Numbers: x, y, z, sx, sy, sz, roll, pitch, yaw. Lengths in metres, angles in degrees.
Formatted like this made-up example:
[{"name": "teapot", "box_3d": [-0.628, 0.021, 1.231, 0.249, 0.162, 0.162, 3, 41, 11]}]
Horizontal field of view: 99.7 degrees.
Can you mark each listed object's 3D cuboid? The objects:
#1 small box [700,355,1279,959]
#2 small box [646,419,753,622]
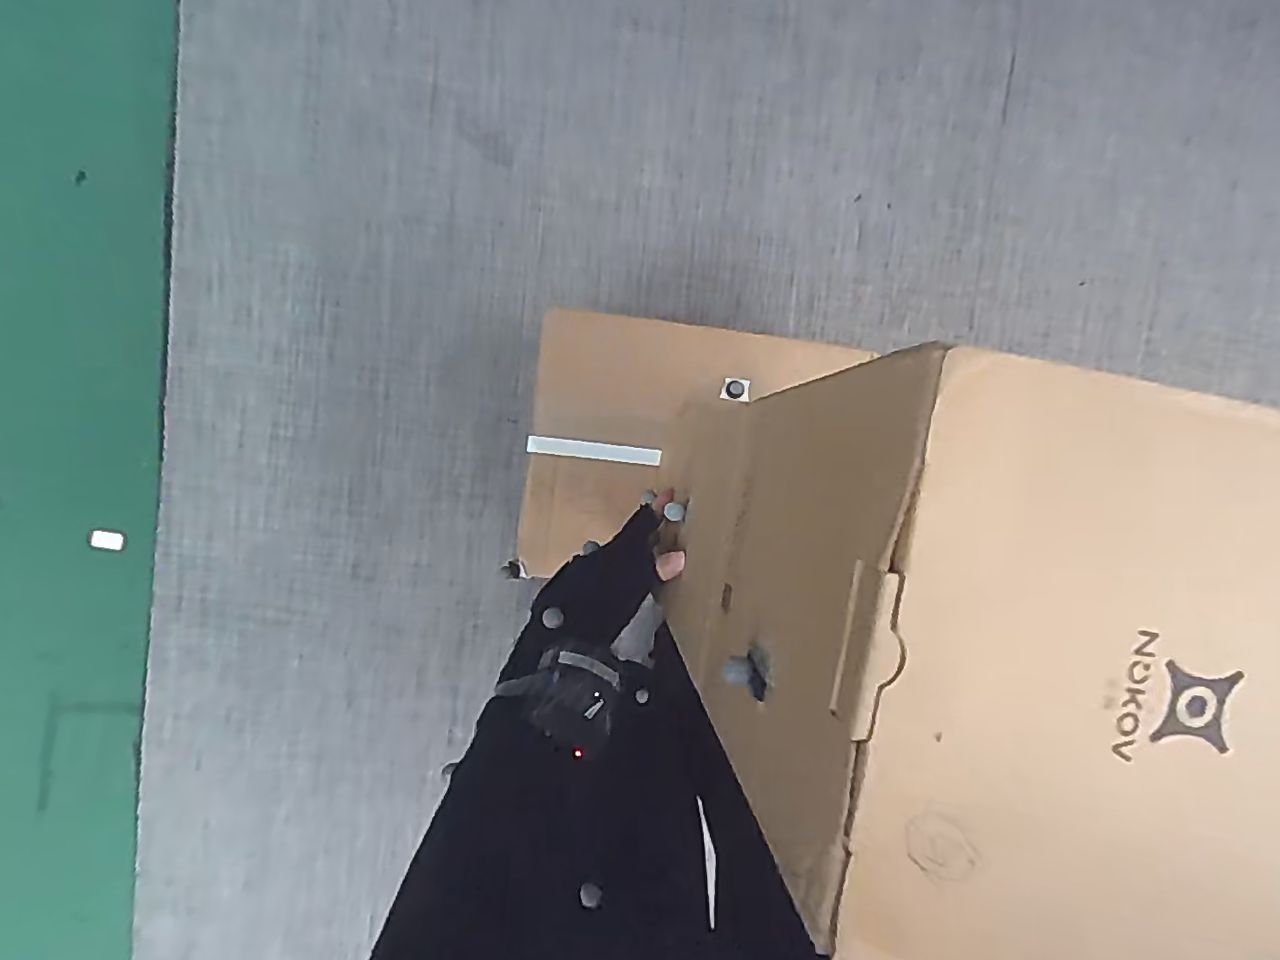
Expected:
[{"name": "small box", "box_3d": [0.132, 0.056, 0.228, 0.179, 0.176, 0.168, 8, 93, -6]}, {"name": "small box", "box_3d": [0.101, 0.038, 0.553, 0.168, 0.176, 0.179, 9, 94, -4]}]
